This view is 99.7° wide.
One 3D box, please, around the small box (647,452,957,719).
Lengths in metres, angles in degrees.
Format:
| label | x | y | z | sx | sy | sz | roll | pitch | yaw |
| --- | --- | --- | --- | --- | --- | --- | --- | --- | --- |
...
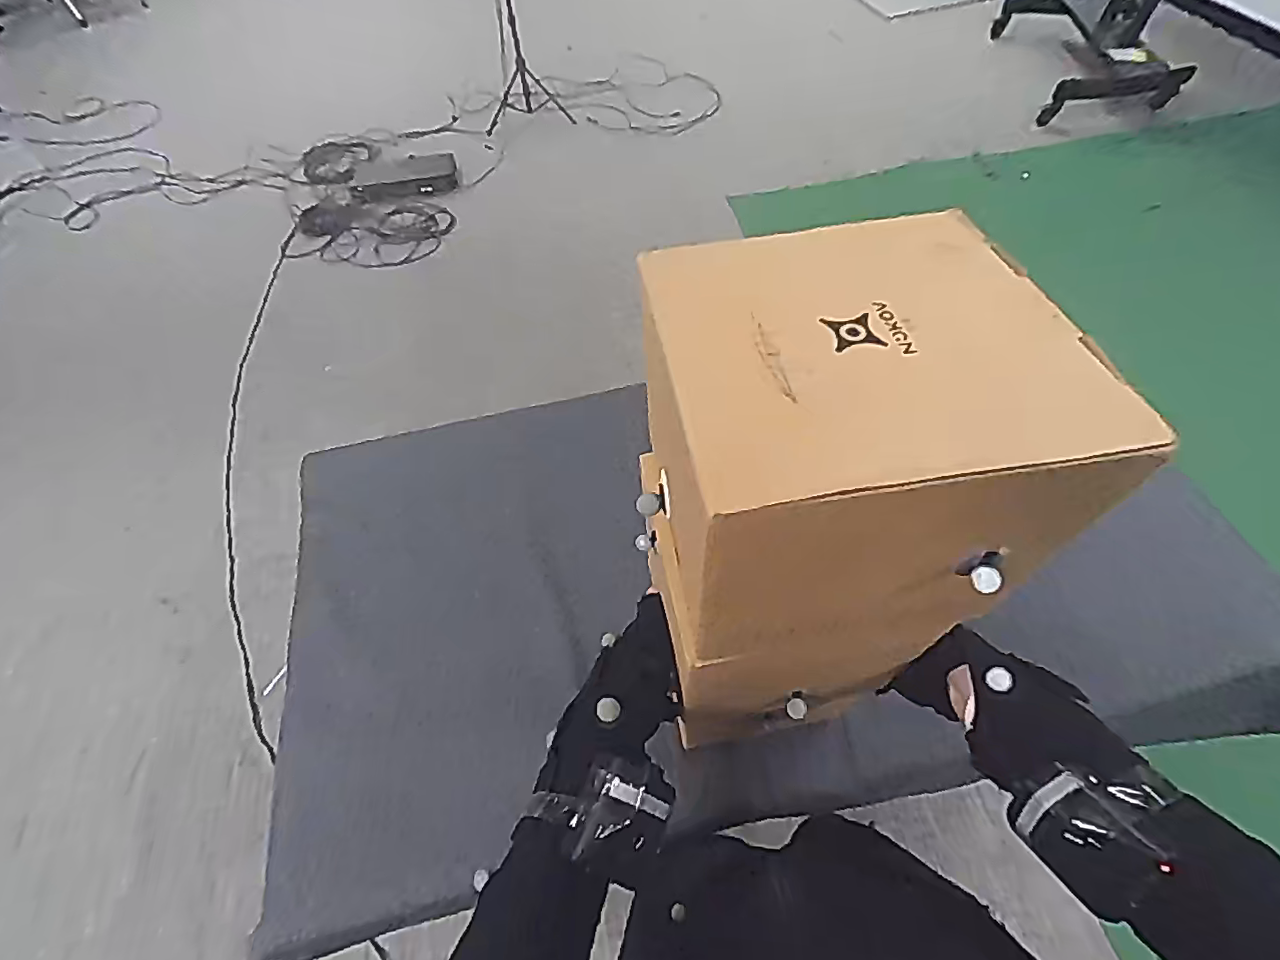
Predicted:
| label | x | y | z | sx | sy | sz | roll | pitch | yaw |
| --- | --- | --- | --- | --- | --- | --- | --- | --- | --- |
| small box | 0.103 | 0.079 | 0.440 | 0.179 | 0.176 | 0.168 | -9 | 53 | -4 |

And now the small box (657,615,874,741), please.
| label | x | y | z | sx | sy | sz | roll | pitch | yaw |
| --- | --- | --- | --- | --- | --- | --- | --- | --- | --- |
| small box | 0.115 | 0.165 | 0.579 | 0.179 | 0.176 | 0.168 | -11 | 55 | -3 |

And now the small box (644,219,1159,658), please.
| label | x | y | z | sx | sy | sz | roll | pitch | yaw |
| --- | --- | --- | --- | --- | --- | --- | --- | --- | --- |
| small box | 0.102 | -0.015 | 0.307 | 0.179 | 0.176 | 0.168 | -10 | 54 | -2 |
